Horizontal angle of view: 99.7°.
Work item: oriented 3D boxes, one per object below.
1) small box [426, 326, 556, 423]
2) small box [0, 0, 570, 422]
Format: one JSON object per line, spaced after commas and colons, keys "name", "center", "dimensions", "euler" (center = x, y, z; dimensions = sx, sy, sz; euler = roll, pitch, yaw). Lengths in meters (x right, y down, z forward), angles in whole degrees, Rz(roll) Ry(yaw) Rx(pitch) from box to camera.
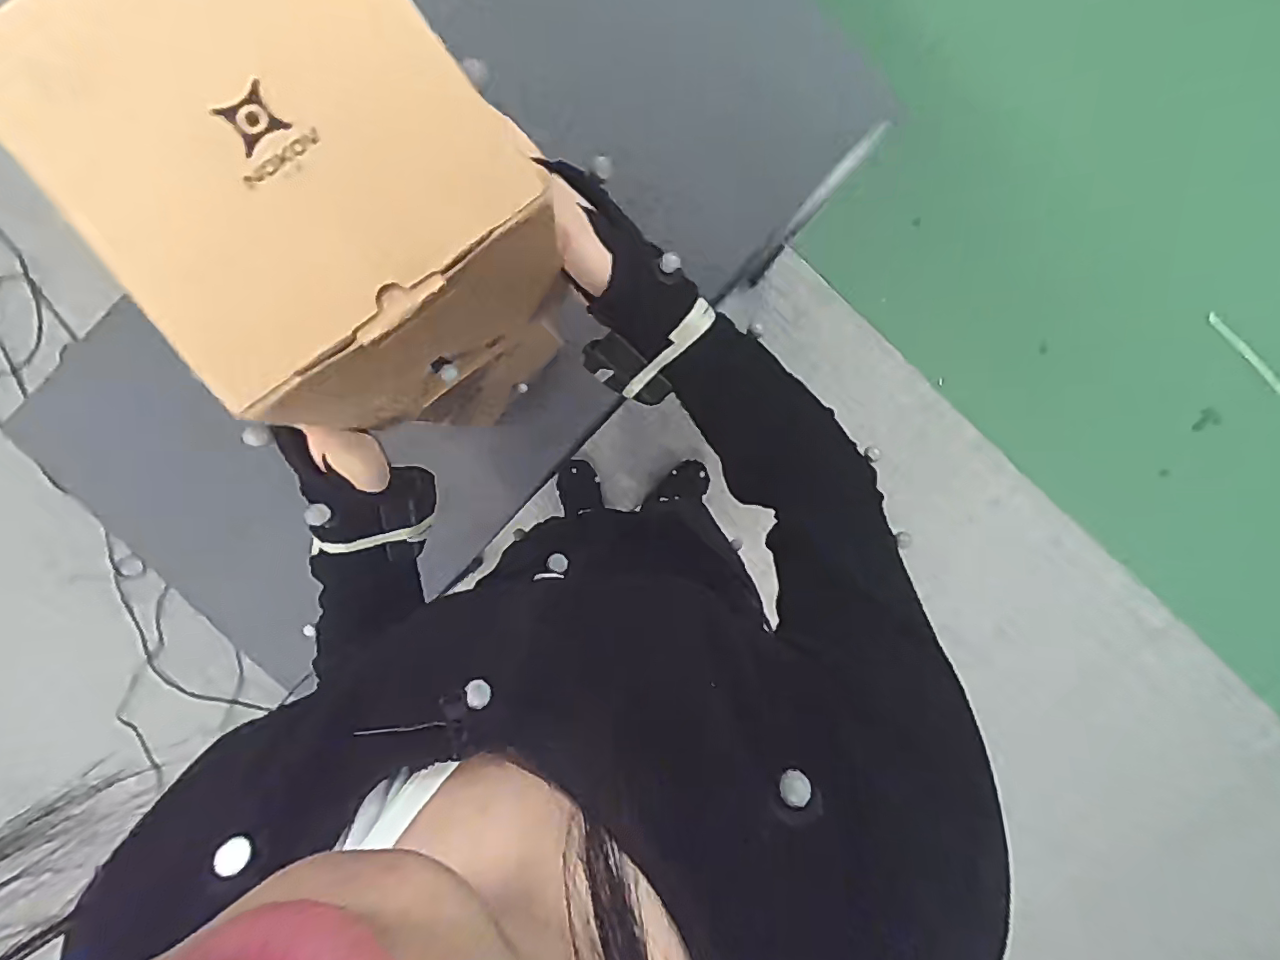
{"name": "small box", "center": [-0.231, -0.184, 0.683], "dimensions": [0.179, 0.176, 0.168], "euler": [42, 93, -3]}
{"name": "small box", "center": [-0.156, -0.145, 0.306], "dimensions": [0.168, 0.176, 0.179], "euler": [-38, 98, -3]}
